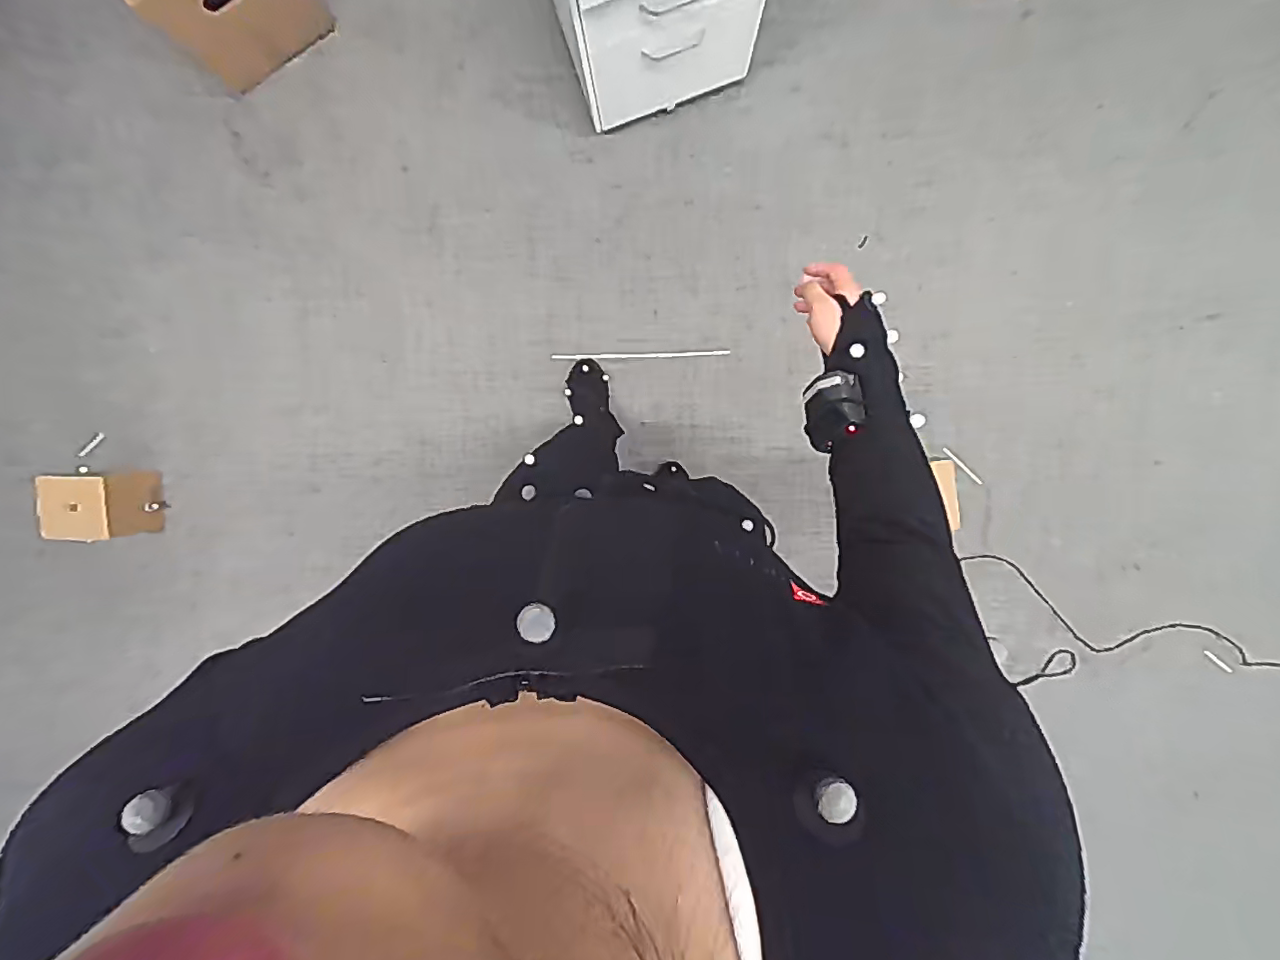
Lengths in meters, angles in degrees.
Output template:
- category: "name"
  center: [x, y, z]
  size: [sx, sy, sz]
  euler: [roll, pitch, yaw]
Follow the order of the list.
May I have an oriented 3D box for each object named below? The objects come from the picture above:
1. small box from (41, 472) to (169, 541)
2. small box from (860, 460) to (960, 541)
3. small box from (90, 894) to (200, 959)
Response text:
- category: "small box"
  center: [-1.431, 0.068, 1.455]
  size: [0.179, 0.176, 0.168]
  euler: [-1, 96, 1]
- category: "small box"
  center: [0.677, 0.045, 1.373]
  size: [0.168, 0.176, 0.179]
  euler: [-9, 95, 3]
- category: "small box"
  center: [-1.423, 1.347, 1.559]
  size: [0.179, 0.176, 0.168]
  euler: [12, 95, 0]
